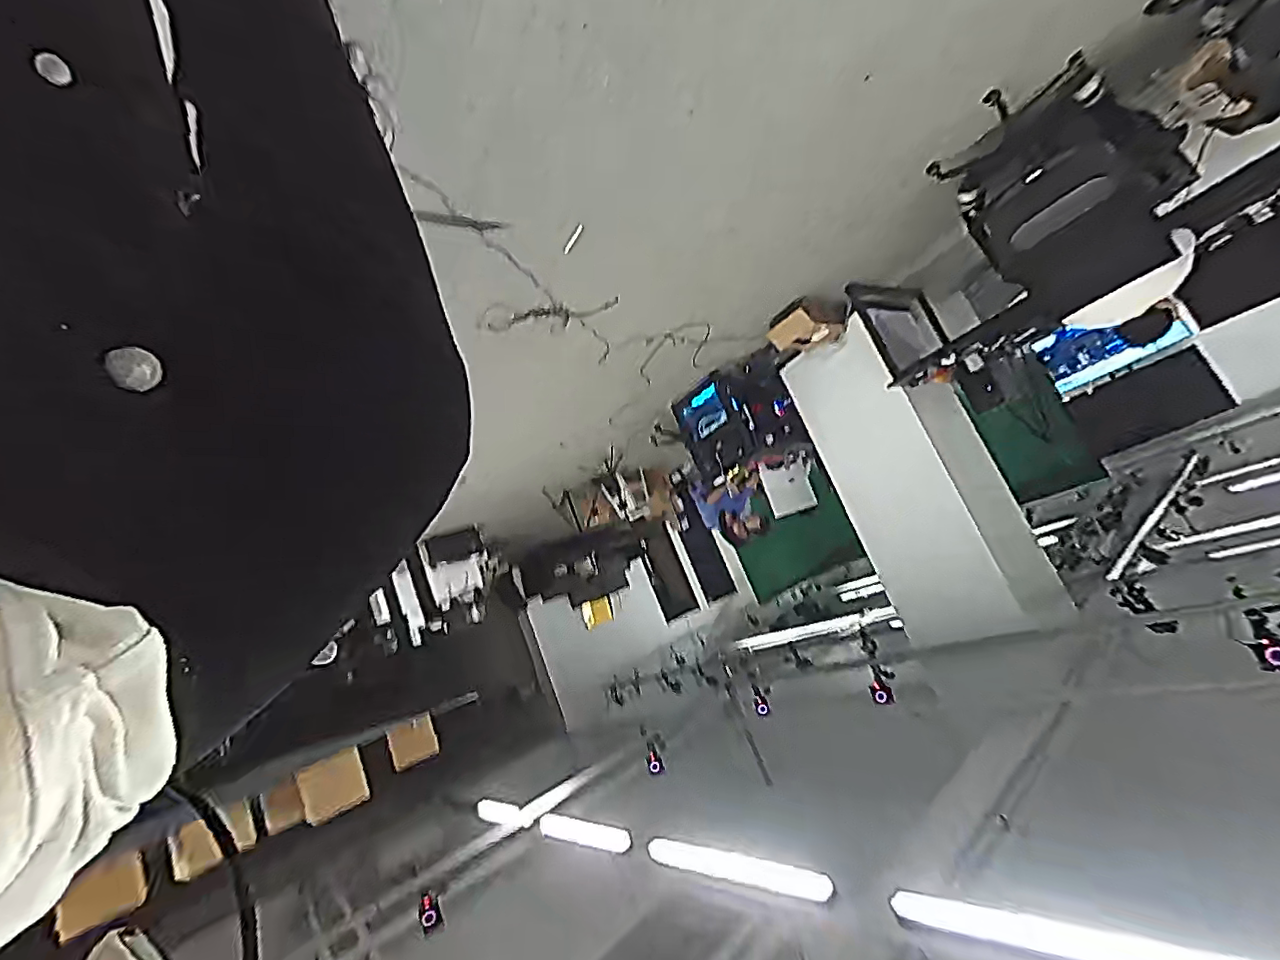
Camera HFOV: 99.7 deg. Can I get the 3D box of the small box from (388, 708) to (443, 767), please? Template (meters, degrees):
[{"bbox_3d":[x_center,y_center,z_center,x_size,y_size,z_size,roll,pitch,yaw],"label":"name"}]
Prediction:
[{"bbox_3d":[-0.932,1.058,2.236,0.168,0.176,0.179,-16,167,-31],"label":"small box"}]

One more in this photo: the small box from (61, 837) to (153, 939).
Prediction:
[{"bbox_3d":[-1.521,1.154,1.548,0.168,0.176,0.179,-12,164,-45],"label":"small box"}]

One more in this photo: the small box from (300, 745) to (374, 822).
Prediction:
[{"bbox_3d":[-1.020,1.009,1.814,0.168,0.176,0.179,-14,168,-43],"label":"small box"}]
